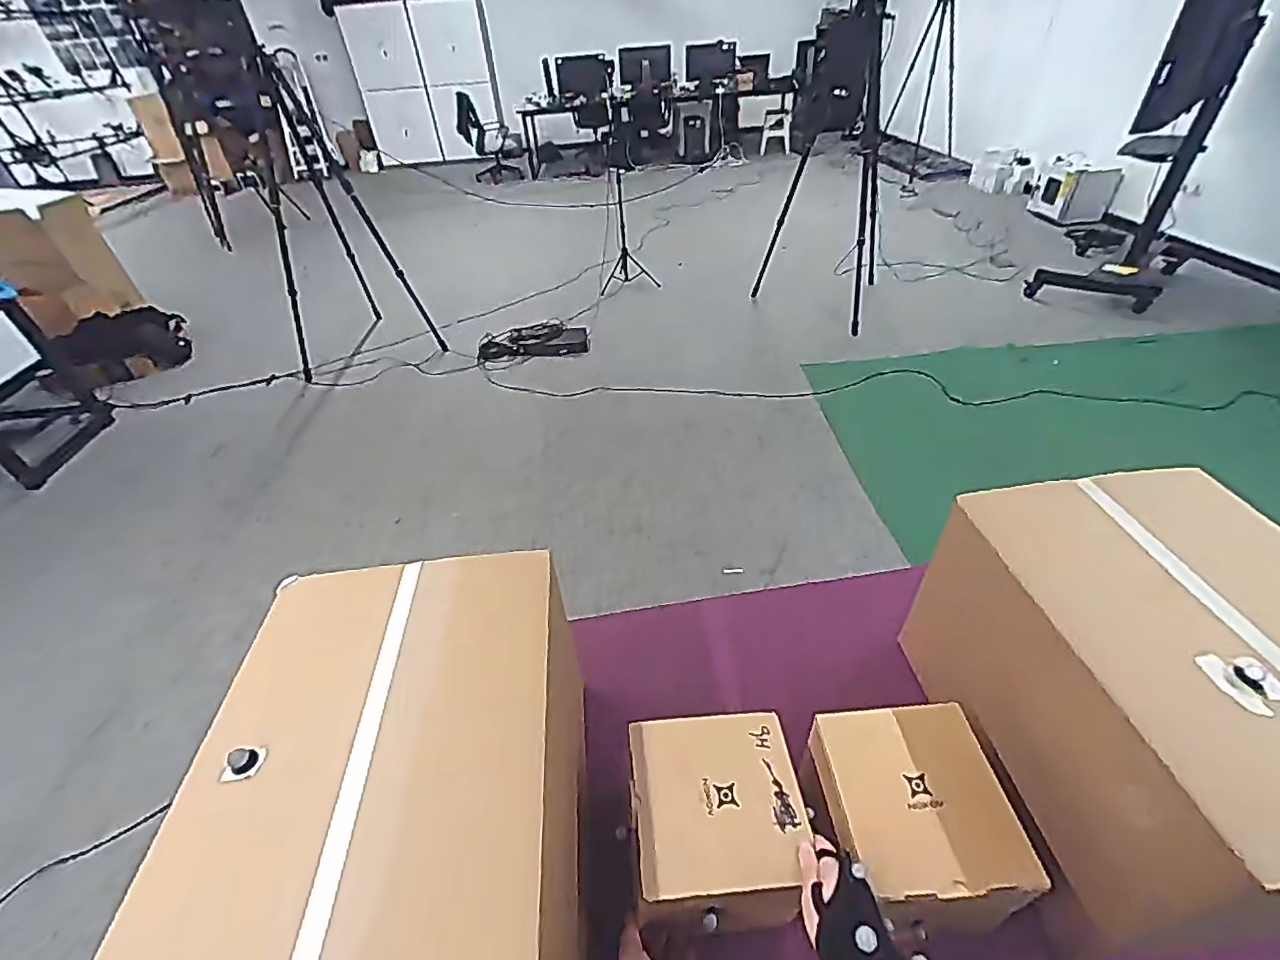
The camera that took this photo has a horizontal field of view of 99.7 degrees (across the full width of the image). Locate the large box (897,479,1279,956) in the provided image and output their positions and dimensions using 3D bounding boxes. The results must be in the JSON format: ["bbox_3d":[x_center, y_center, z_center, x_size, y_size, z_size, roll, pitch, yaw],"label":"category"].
[{"bbox_3d":[0.569,0.251,0.628,0.320,0.320,0.408,-6,41,-1],"label":"large box"}]
